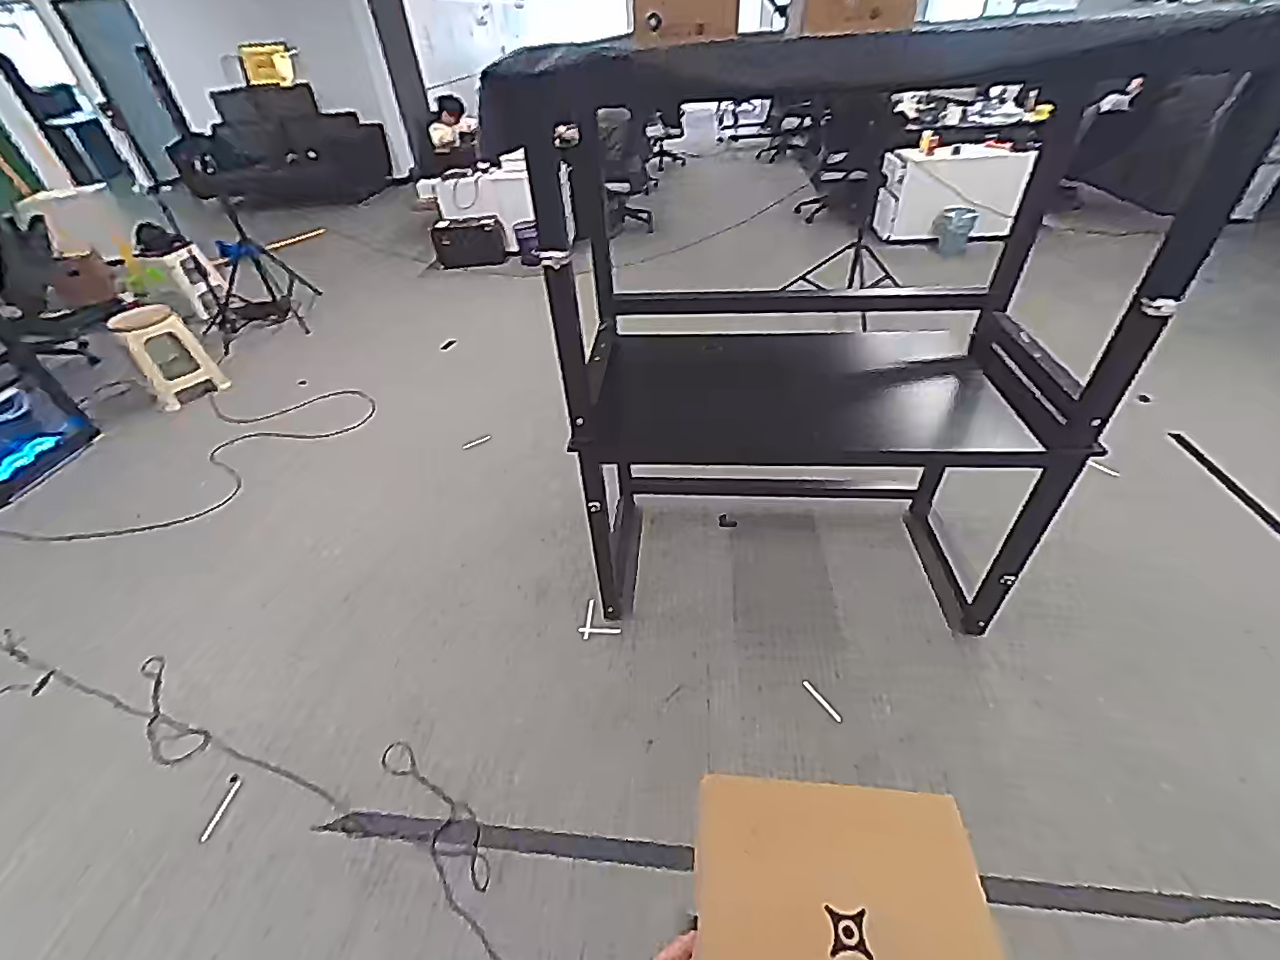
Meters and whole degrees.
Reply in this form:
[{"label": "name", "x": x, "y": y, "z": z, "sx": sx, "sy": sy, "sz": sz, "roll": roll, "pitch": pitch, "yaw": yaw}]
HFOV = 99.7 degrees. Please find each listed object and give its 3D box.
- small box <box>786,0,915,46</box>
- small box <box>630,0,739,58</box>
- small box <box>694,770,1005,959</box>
[{"label": "small box", "x": 0.324, "y": -0.778, "z": 0.831, "sx": 0.168, "sy": 0.176, "sz": 0.179, "roll": 0, "pitch": 39, "yaw": 5}, {"label": "small box", "x": 0.069, "y": -0.778, "z": 0.850, "sx": 0.168, "sy": 0.176, "sz": 0.179, "roll": 0, "pitch": 38, "yaw": 3}, {"label": "small box", "x": 0.120, "y": 0.320, "z": 0.352, "sx": 0.168, "sy": 0.176, "sz": 0.179, "roll": 2, "pitch": 42, "yaw": 7}]
